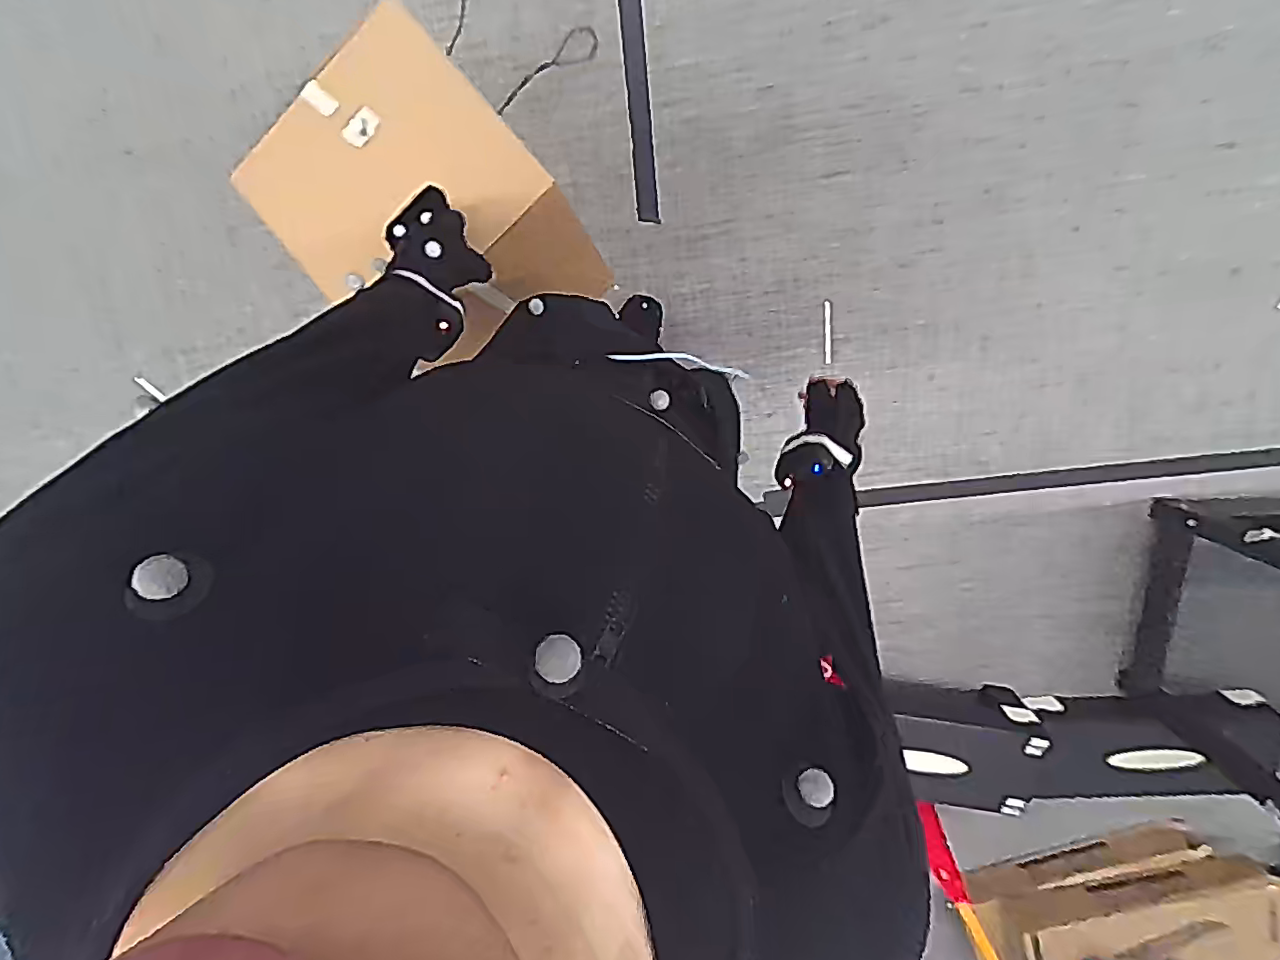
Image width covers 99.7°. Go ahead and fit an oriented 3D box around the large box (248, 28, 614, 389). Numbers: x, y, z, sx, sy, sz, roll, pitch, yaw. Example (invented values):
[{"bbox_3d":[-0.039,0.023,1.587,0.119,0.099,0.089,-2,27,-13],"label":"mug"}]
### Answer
[{"bbox_3d":[-0.289,-0.374,0.875,0.320,0.408,0.320,-41,89,9],"label":"large box"}]
